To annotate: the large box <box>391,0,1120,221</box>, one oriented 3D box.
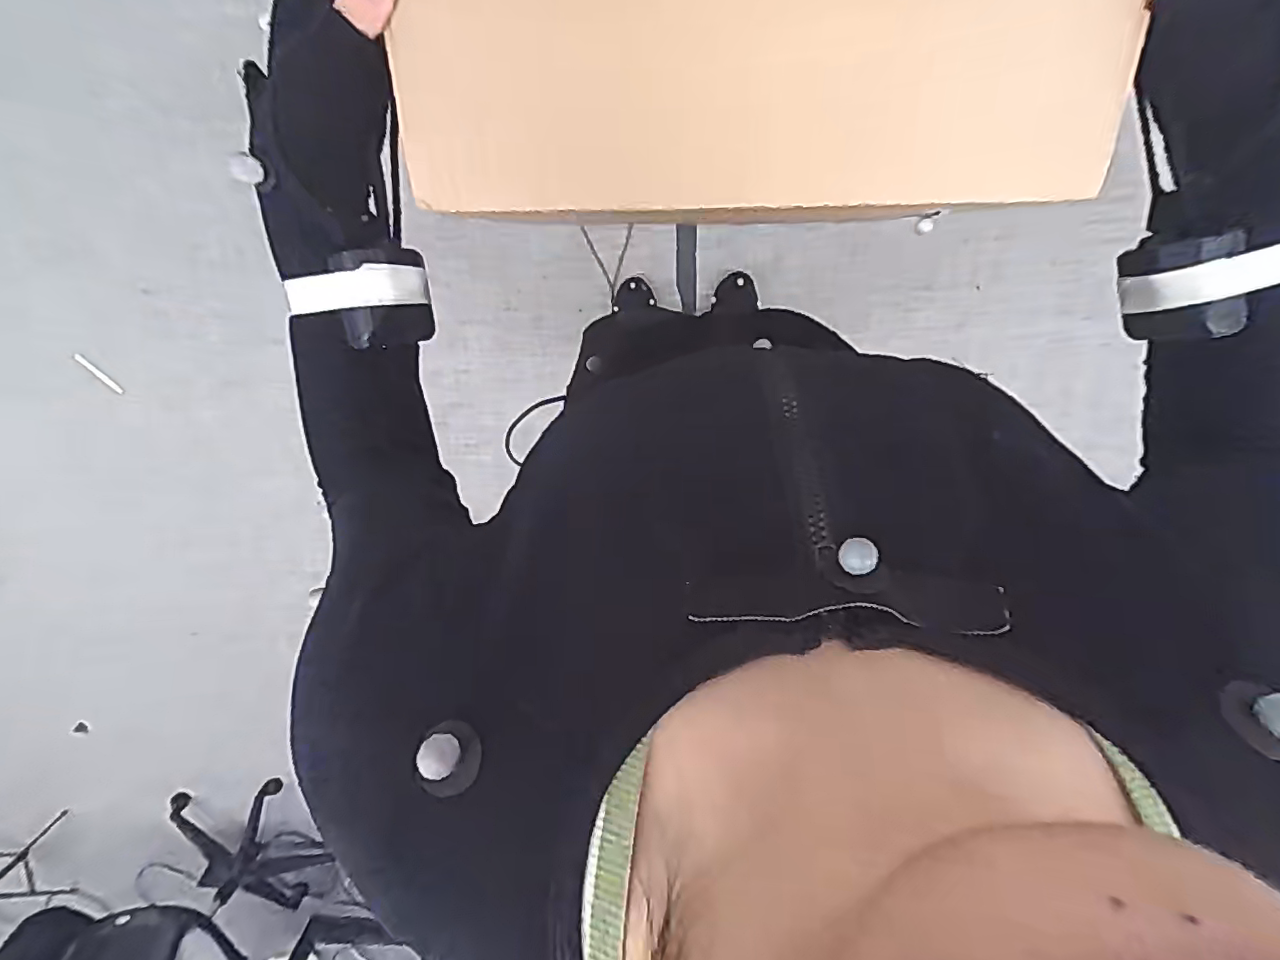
[{"bbox_3d":[0.064,-0.371,0.405,0.408,0.320,0.320,-1,113,0],"label":"large box"}]
